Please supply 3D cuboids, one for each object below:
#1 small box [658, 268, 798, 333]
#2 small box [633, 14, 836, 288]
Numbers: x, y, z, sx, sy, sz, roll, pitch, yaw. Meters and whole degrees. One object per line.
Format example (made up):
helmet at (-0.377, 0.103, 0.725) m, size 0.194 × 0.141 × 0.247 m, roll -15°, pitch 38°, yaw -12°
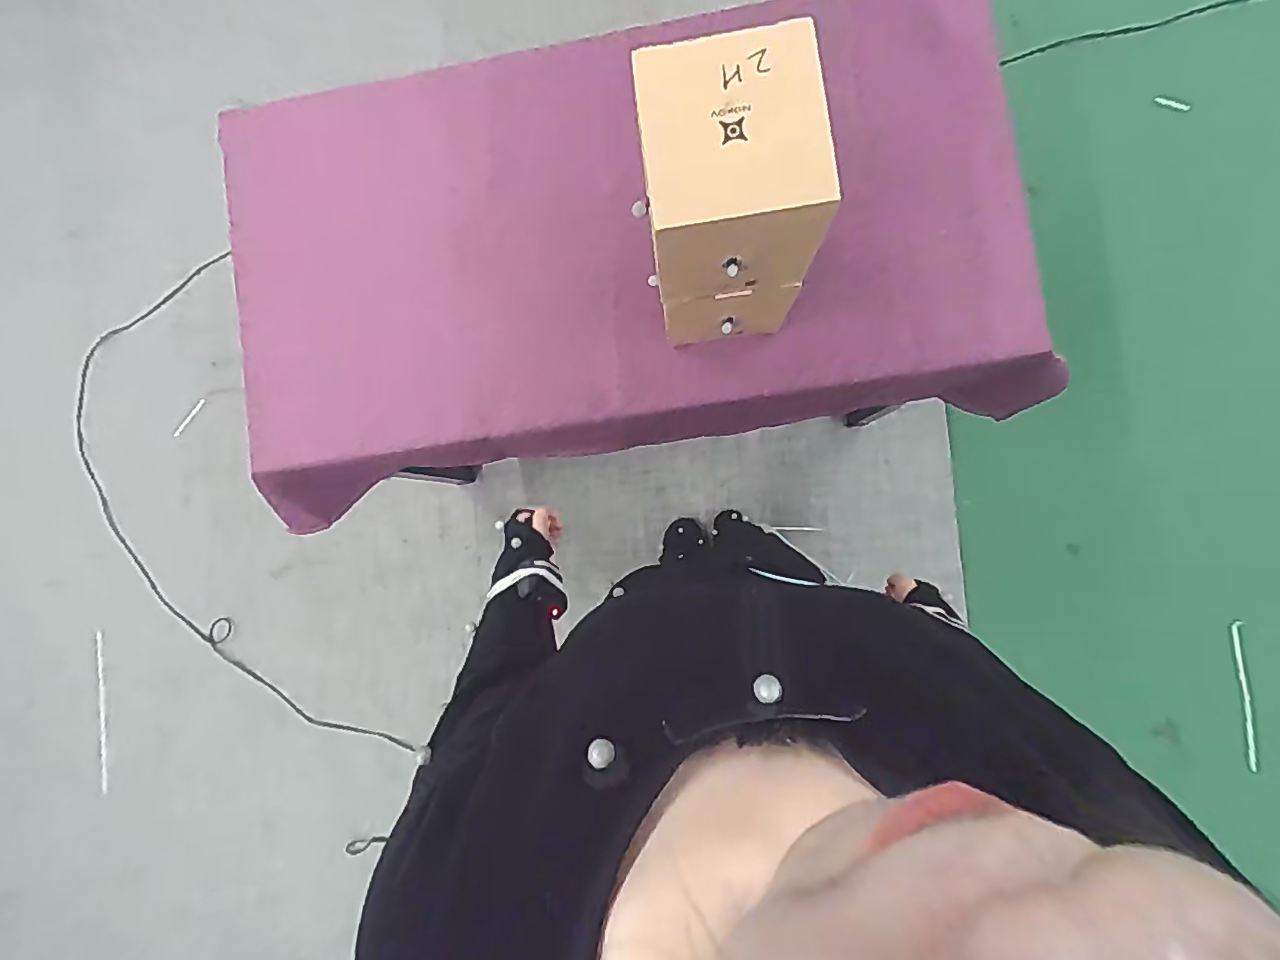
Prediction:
small box at (0.105, -0.306, 0.724) m, size 0.168 × 0.176 × 0.179 m, roll -7°, pitch 87°, yaw 4°
small box at (0.089, -0.314, 0.559) m, size 0.168 × 0.176 × 0.179 m, roll -7°, pitch 86°, yaw 4°
